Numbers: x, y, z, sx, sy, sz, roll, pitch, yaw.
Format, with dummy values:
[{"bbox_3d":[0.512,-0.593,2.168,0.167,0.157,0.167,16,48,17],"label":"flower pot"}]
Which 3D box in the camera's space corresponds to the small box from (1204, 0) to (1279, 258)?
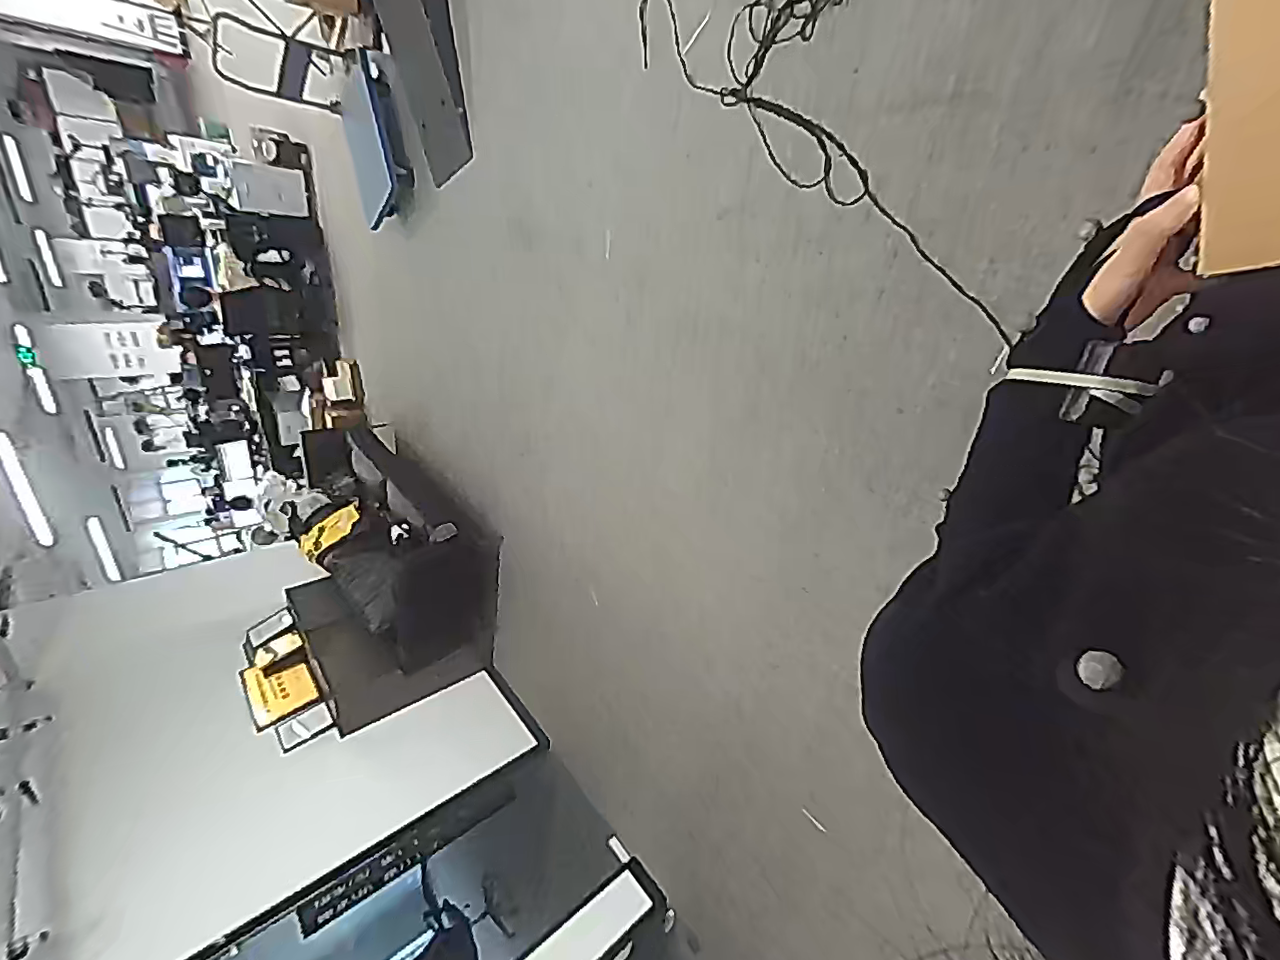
[{"bbox_3d":[0.429,-0.227,0.285,0.168,0.176,0.179,6,110,51],"label":"small box"}]
